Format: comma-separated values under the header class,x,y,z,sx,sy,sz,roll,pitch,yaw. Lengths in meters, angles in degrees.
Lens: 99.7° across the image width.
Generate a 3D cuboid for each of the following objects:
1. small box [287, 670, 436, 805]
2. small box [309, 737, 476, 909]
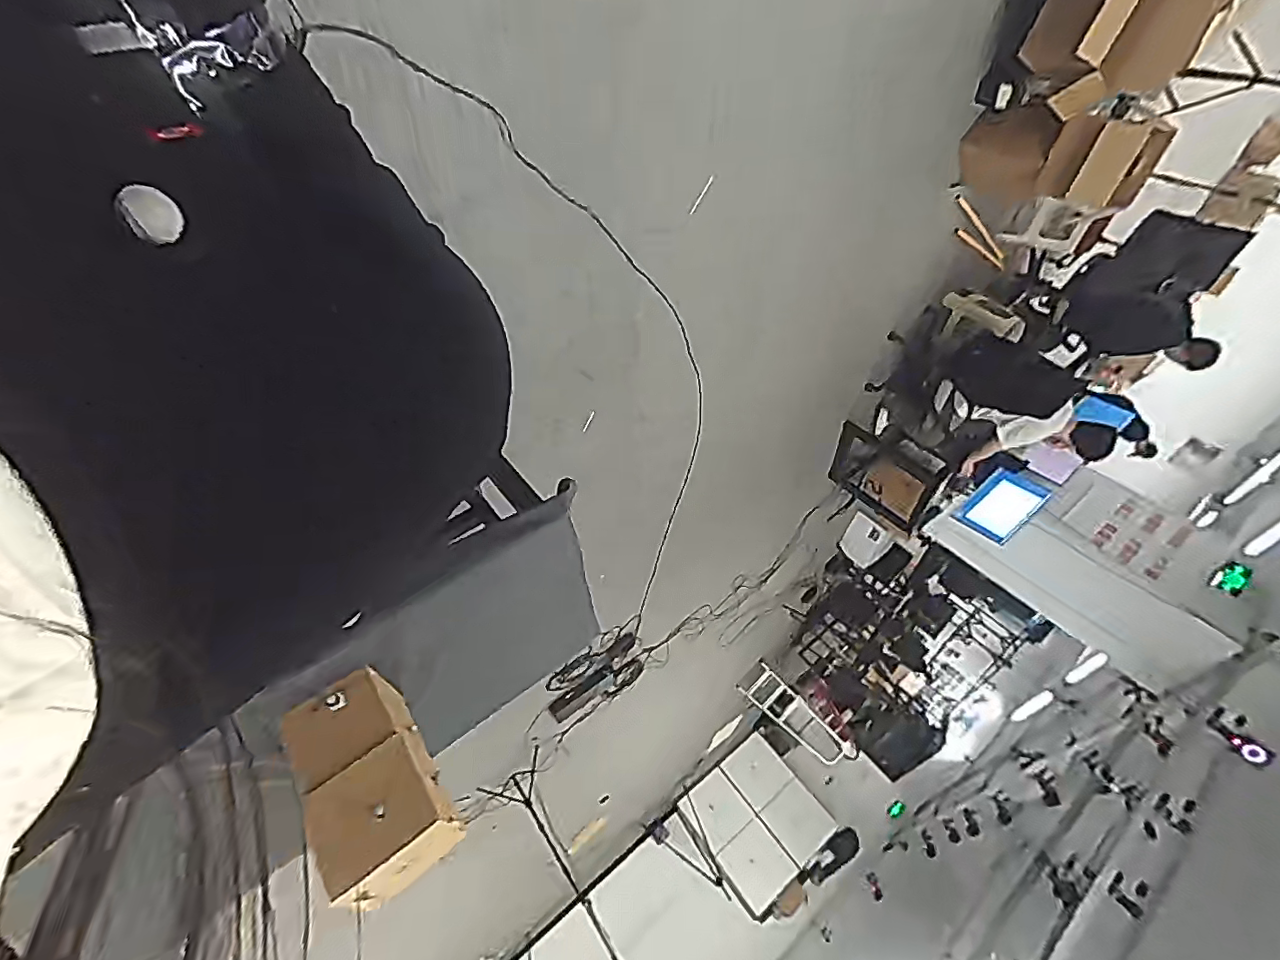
class,x,y,z,sx,sy,sz,roll,pitch,yaw
small box,-0.512,0.488,1.005,0.168,0.176,0.179,-34,145,-22
small box,-0.411,0.570,0.909,0.179,0.176,0.168,-34,147,-21
